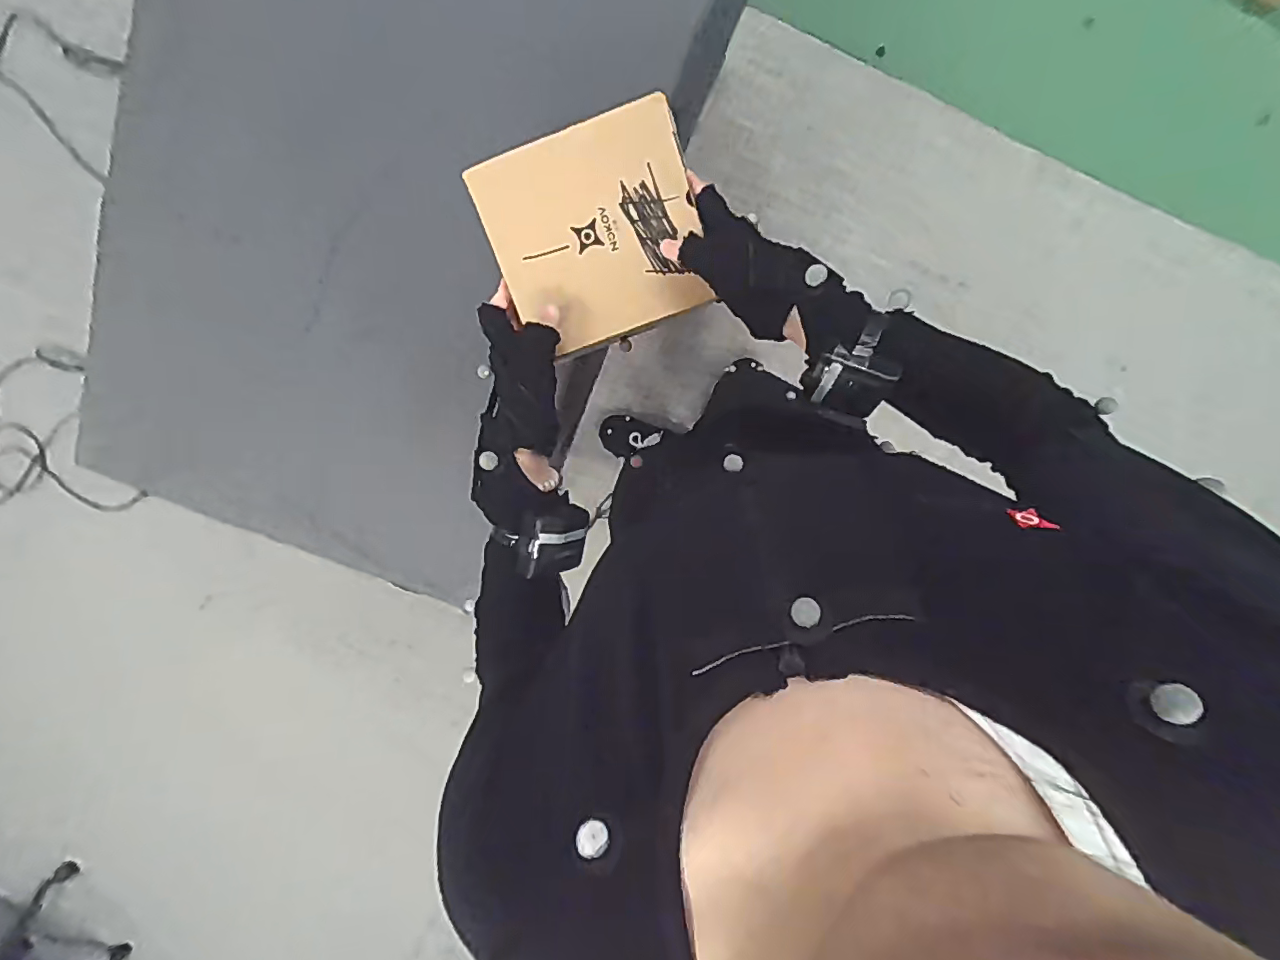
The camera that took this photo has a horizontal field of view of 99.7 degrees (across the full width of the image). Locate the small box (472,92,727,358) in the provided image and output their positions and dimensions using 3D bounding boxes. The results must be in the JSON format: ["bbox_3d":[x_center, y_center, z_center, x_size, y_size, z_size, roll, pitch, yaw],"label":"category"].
[{"bbox_3d":[-0.034,-0.227,0.527,0.179,0.176,0.168,-19,103,3],"label":"small box"}]
